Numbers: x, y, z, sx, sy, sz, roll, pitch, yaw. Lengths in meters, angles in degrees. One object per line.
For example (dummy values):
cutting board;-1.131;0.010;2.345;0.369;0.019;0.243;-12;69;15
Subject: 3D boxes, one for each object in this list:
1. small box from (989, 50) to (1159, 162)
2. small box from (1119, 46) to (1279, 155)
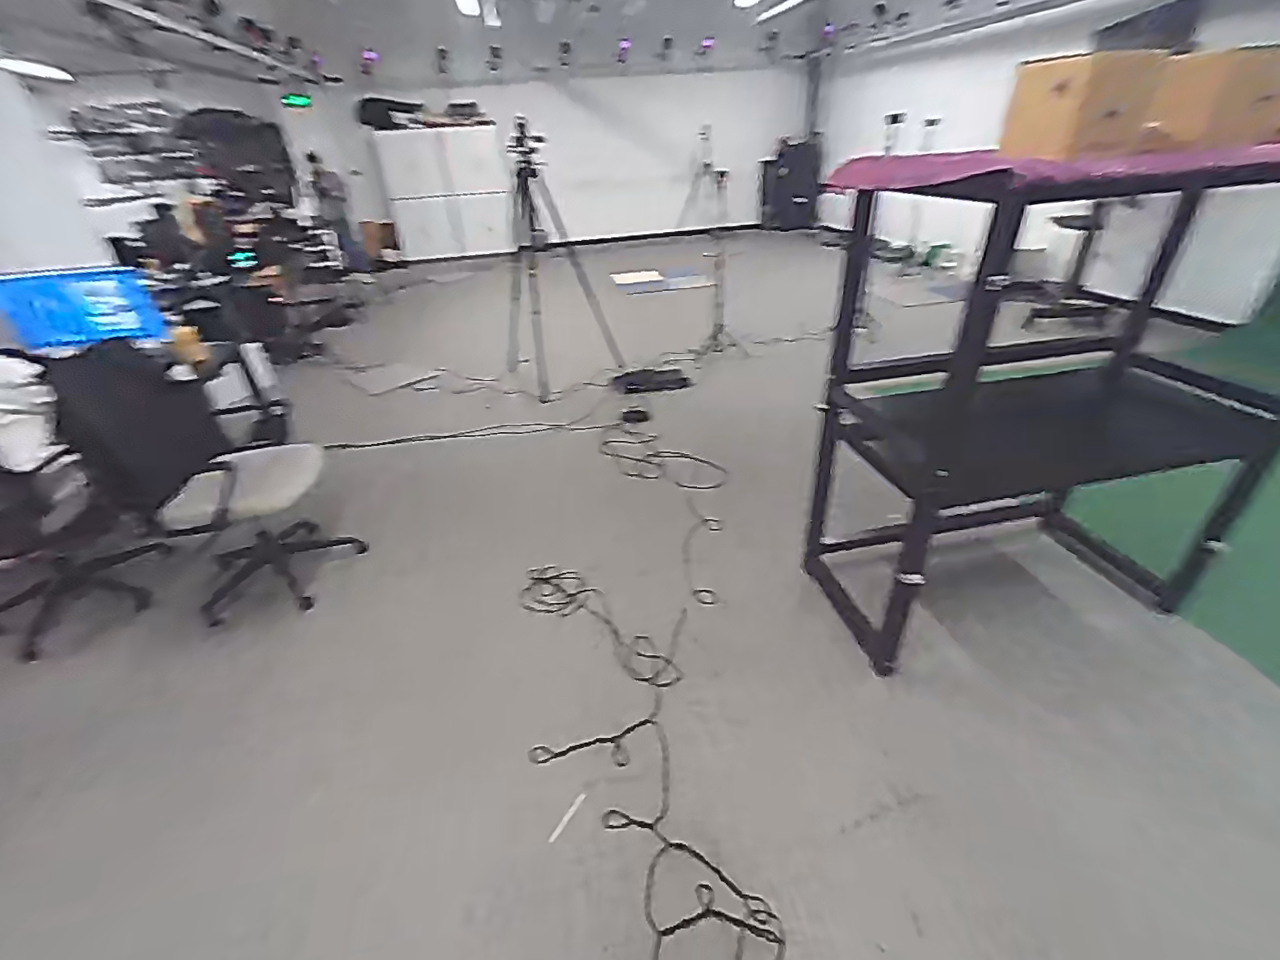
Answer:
small box;0.847;-0.737;1.076;0.168;0.176;0.179;-8;33;-10
small box;1.160;-0.788;1.131;0.179;0.176;0.168;-10;33;-9
